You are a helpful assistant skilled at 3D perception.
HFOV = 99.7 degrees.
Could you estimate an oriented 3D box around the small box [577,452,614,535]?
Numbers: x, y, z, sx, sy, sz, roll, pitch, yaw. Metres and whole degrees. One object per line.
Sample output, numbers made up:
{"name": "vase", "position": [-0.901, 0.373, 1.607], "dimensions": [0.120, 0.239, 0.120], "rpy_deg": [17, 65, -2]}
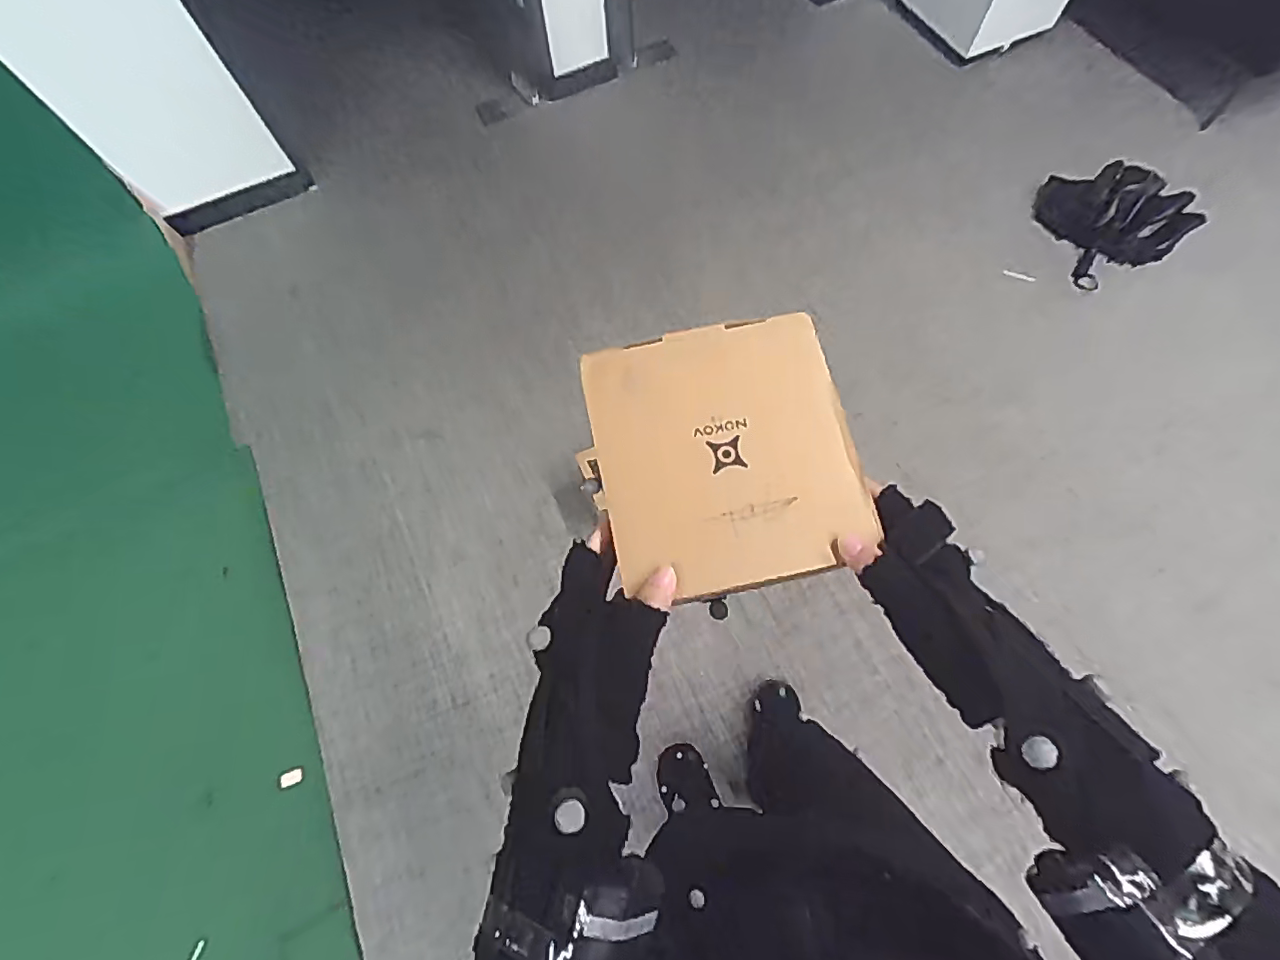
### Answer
{"name": "small box", "position": [-0.044, 0.022, 1.385], "dimensions": [0.179, 0.176, 0.168], "rpy_deg": [-22, 68, -7]}

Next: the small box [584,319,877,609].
{"name": "small box", "position": [0.055, 0.001, 0.440], "dimensions": [0.168, 0.176, 0.179], "rpy_deg": [-12, 76, -2]}
